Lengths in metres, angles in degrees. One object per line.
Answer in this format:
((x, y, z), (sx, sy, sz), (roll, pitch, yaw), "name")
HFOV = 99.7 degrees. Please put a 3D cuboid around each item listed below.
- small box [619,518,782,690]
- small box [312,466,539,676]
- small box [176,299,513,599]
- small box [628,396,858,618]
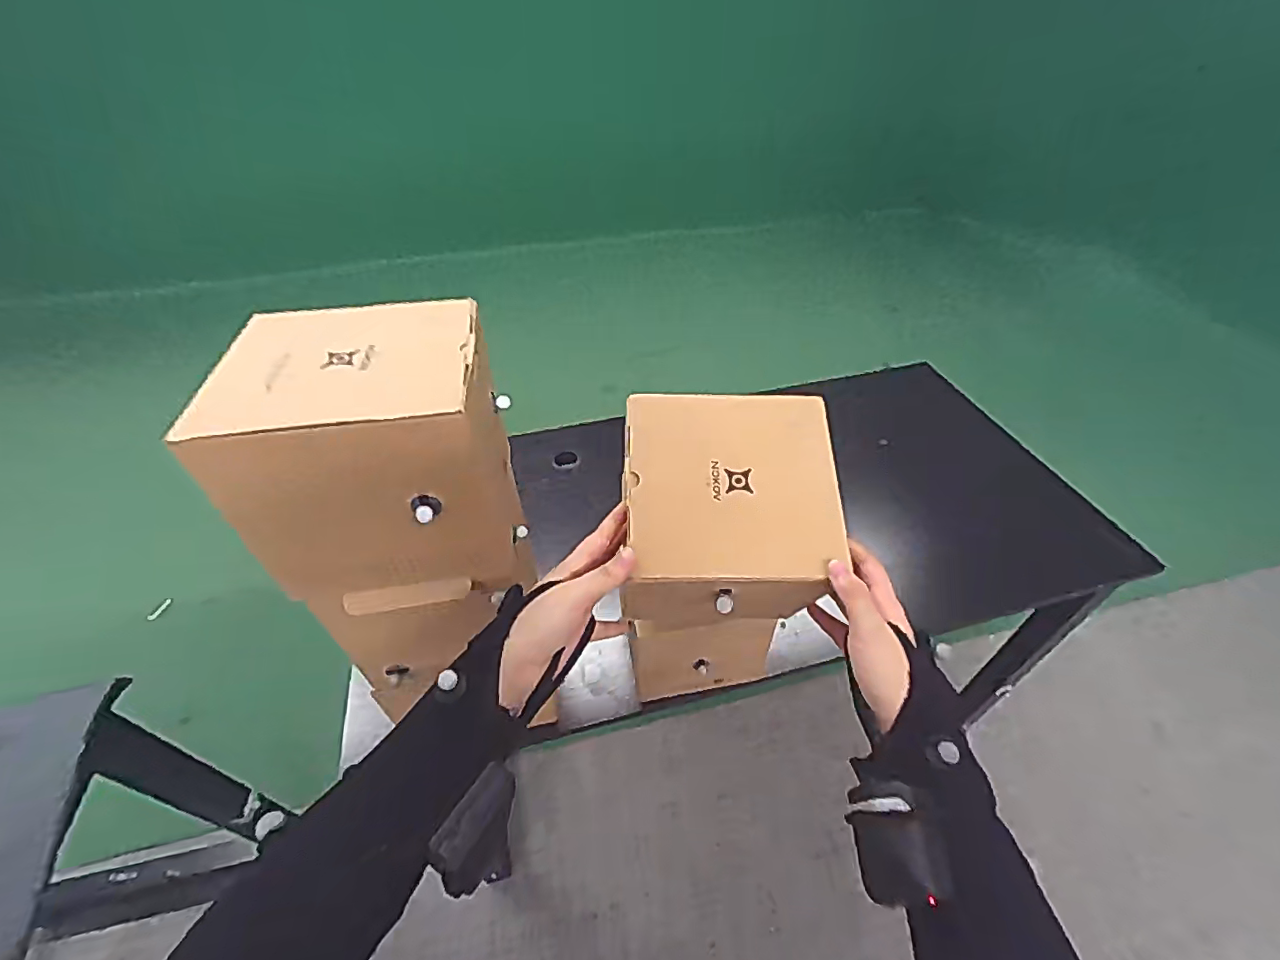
((0.069, 0.157, 0.710), (0.168, 0.176, 0.179), (-8, 45, -7), "small box")
((-0.201, 0.084, 0.560), (0.168, 0.176, 0.179), (-8, 44, -8), "small box")
((-0.201, -0.026, 0.439), (0.179, 0.176, 0.168), (-8, 44, -7), "small box")
((0.078, 0.034, 0.518), (0.179, 0.176, 0.168), (-1, 66, -2), "small box")
